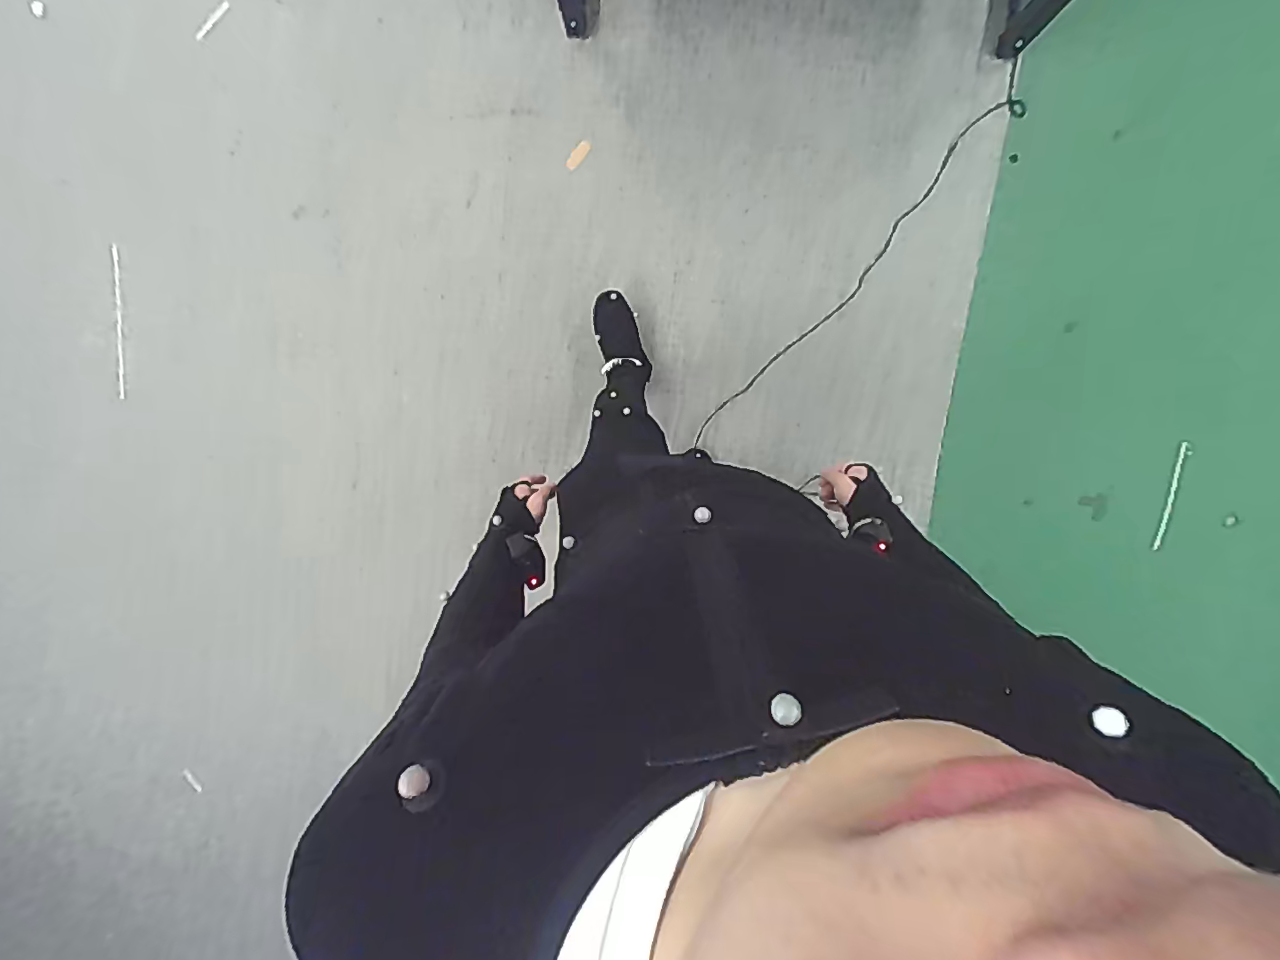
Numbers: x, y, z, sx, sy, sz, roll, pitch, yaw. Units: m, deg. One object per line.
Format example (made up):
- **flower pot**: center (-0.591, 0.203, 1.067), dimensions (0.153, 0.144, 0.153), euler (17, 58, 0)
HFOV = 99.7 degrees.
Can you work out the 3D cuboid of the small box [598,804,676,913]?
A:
- **small box**: center (-0.004, 1.049, 1.515), dimensions (0.179, 0.176, 0.168), euler (15, 99, 1)
